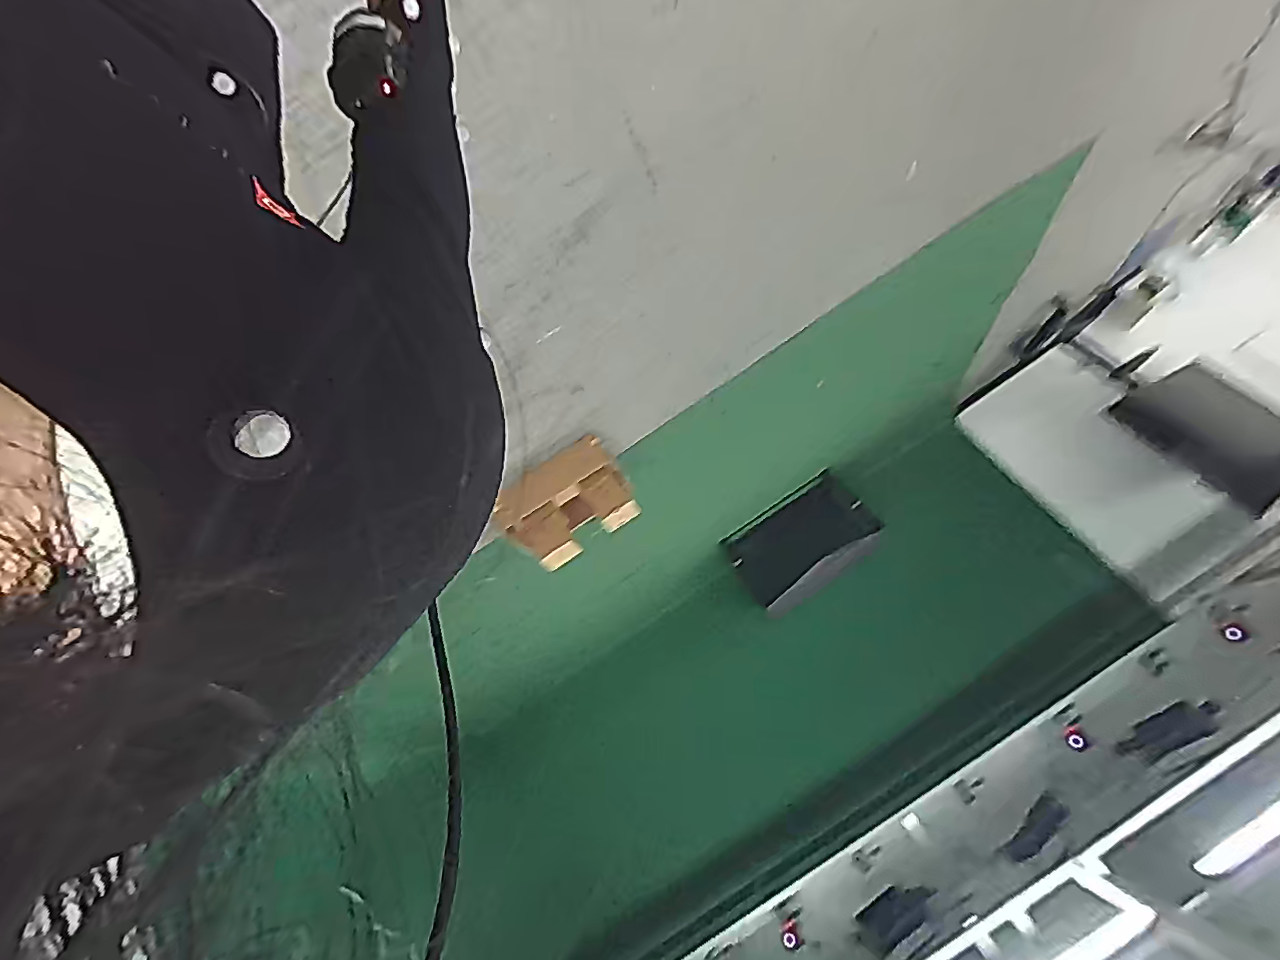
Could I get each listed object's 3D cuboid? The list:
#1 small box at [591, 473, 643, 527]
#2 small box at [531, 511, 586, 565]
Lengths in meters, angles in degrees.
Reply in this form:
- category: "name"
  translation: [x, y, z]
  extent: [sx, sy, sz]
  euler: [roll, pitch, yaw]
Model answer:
- category: "small box"
  translation: [-0.110, 0.089, 2.552]
  extent: [0.168, 0.176, 0.179]
  euler: [-33, 152, -3]
- category: "small box"
  translation: [-0.385, 0.273, 2.545]
  extent: [0.168, 0.176, 0.179]
  euler: [-35, 153, -1]
